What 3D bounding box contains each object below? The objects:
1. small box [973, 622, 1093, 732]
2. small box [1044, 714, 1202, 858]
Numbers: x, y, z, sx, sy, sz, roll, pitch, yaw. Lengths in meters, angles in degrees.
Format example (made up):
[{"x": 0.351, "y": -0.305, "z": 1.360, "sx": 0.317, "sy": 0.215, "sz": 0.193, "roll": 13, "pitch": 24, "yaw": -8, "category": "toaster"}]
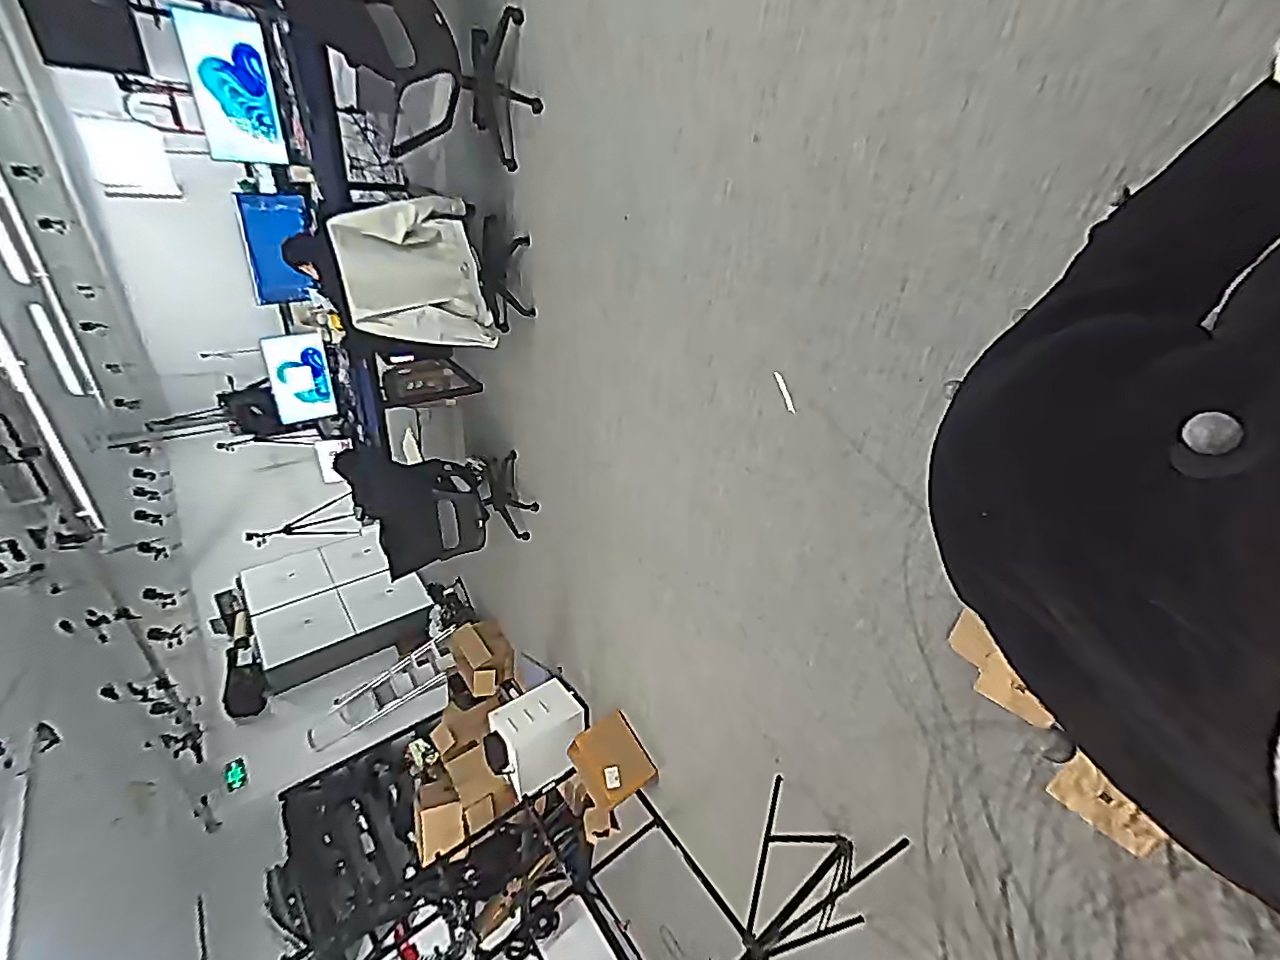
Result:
[{"x": 0.990, "y": 0.484, "z": 1.365, "sx": 0.179, "sy": 0.176, "sz": 0.168, "roll": 30, "pitch": 129, "yaw": 42, "category": "small box"}, {"x": 0.999, "y": 0.618, "z": 1.121, "sx": 0.179, "sy": 0.176, "sz": 0.168, "roll": 35, "pitch": 133, "yaw": 40, "category": "small box"}]
